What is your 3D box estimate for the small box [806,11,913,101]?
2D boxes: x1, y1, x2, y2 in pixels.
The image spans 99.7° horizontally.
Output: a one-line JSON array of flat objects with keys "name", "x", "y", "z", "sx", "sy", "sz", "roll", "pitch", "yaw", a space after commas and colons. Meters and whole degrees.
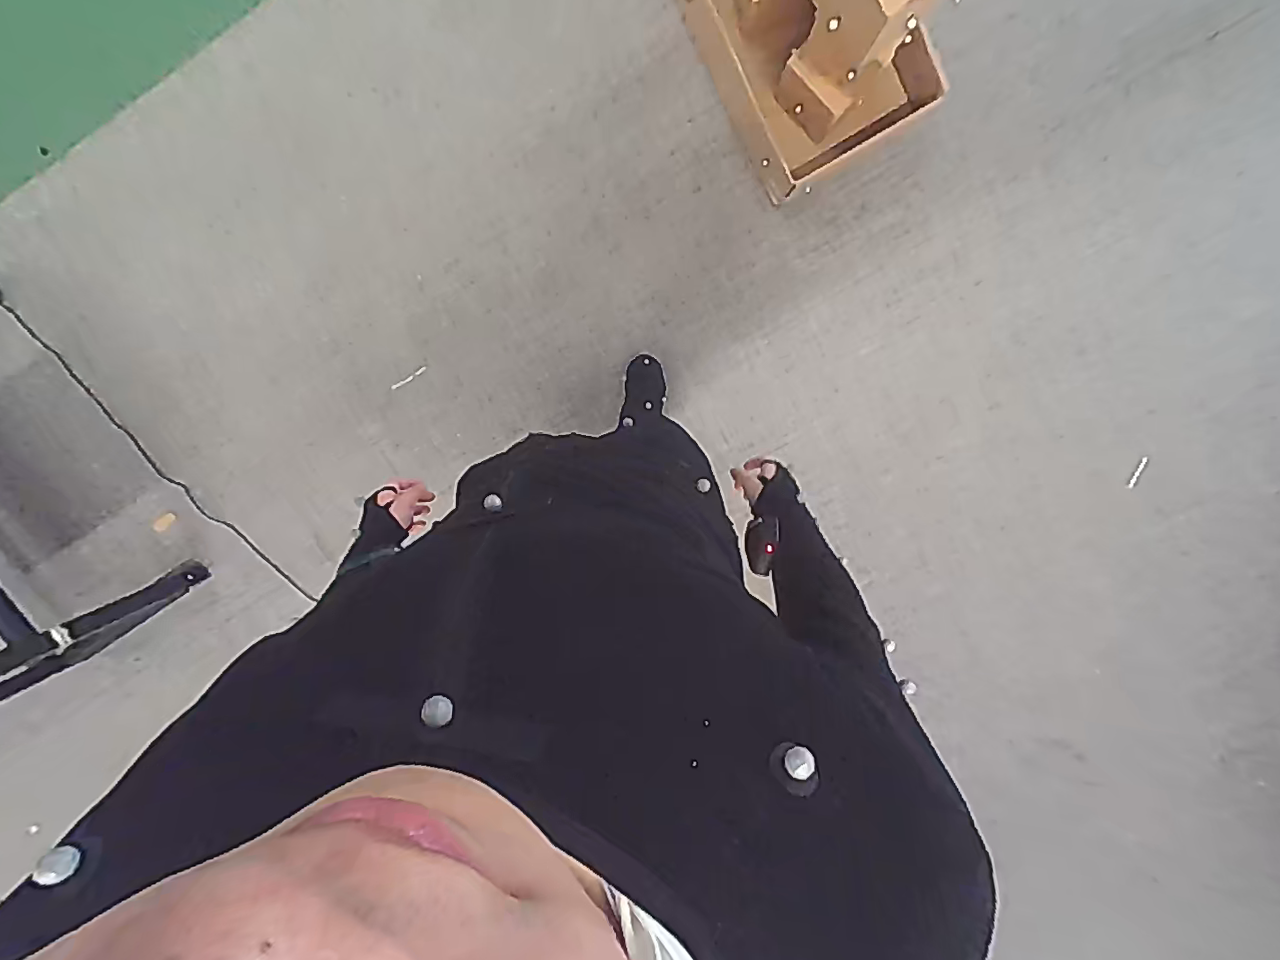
[{"name": "small box", "x": 0.464, "y": -0.939, "z": 1.113, "sx": 0.168, "sy": 0.176, "sz": 0.179, "roll": 35, "pitch": 100, "yaw": -4}]

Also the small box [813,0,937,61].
[{"name": "small box", "x": 0.433, "y": -0.895, "z": 0.956, "sx": 0.168, "sy": 0.176, "sz": 0.179, "roll": -35, "pitch": 98, "yaw": 9}]

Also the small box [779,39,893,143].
[{"name": "small box", "x": 0.449, "y": -0.948, "z": 1.278, "sx": 0.179, "sy": 0.176, "sz": 0.168, "roll": -44, "pitch": 96, "yaw": 9}]
